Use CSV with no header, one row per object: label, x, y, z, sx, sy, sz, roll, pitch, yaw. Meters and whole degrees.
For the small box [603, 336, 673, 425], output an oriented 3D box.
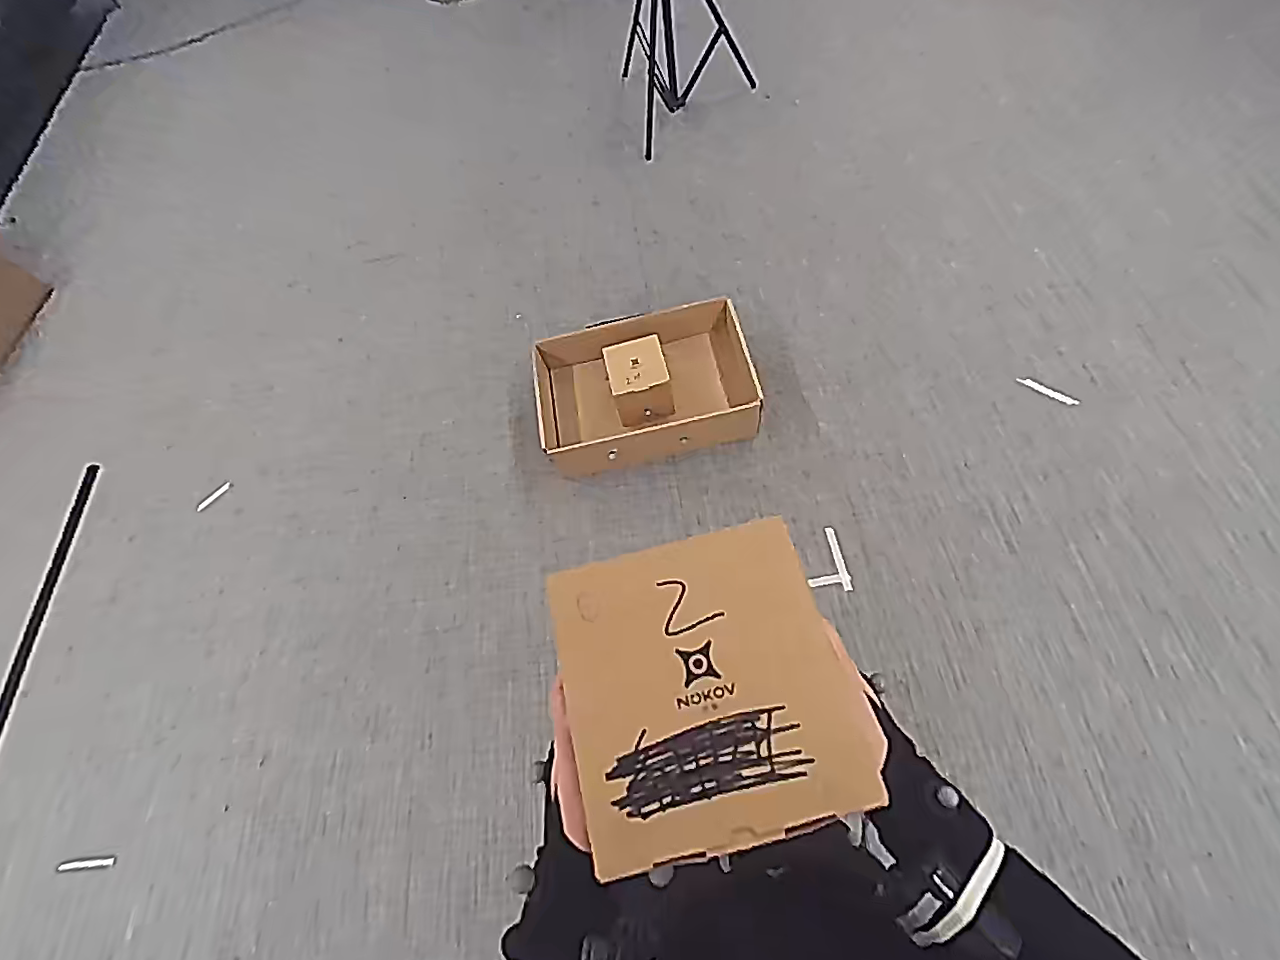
small box,-0.004,-0.290,1.595,0.168,0.176,0.179,-14,64,2
